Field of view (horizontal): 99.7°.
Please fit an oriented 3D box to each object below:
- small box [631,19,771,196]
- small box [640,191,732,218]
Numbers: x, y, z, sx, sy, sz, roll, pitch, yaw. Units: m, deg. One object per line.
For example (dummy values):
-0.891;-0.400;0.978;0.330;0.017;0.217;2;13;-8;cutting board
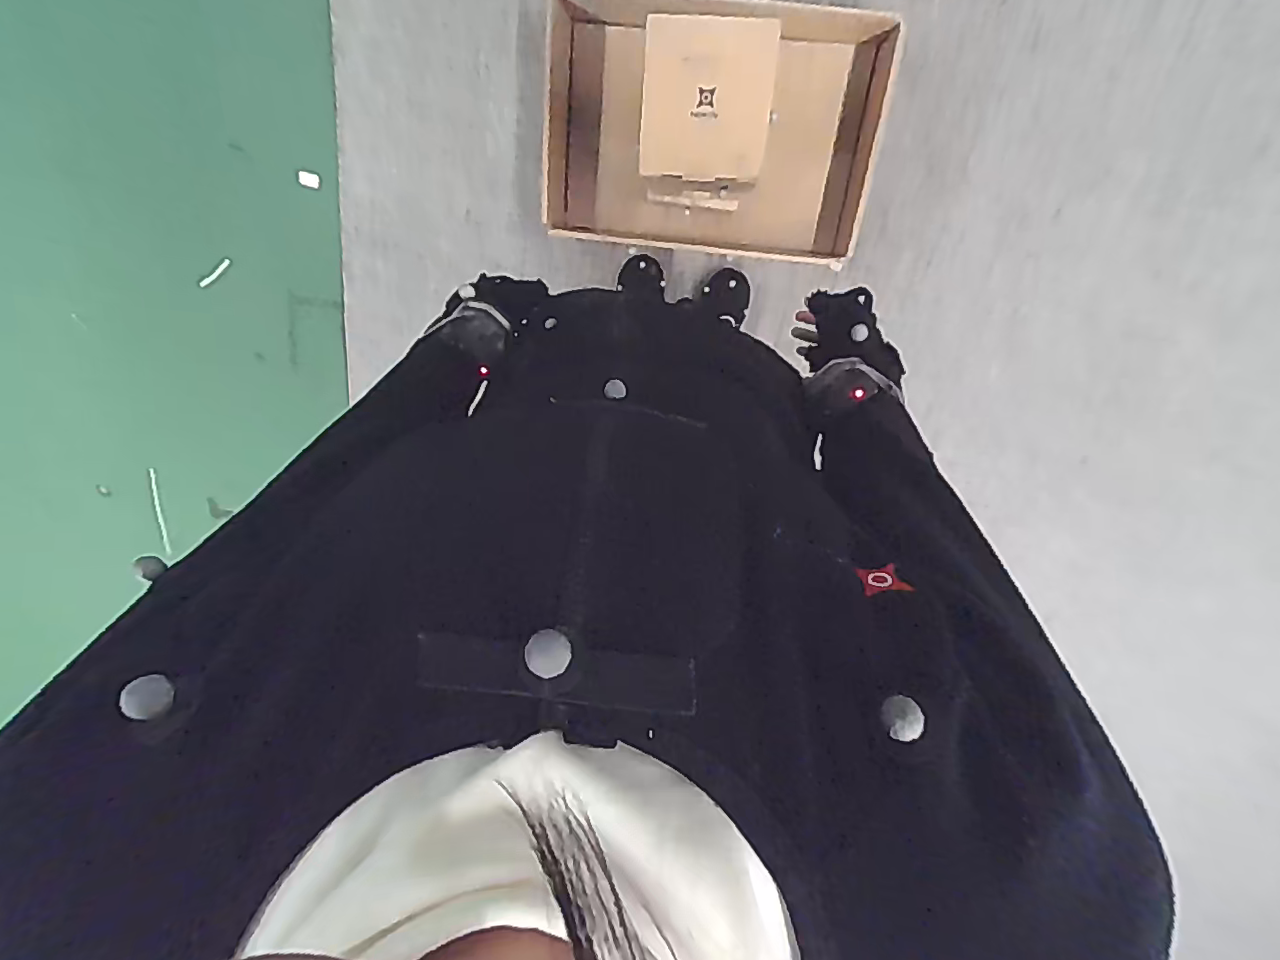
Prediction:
0.081;-0.510;0.765;0.168;0.176;0.179;5;112;3;small box
0.104;-0.629;1.084;0.179;0.176;0.168;10;113;3;small box
